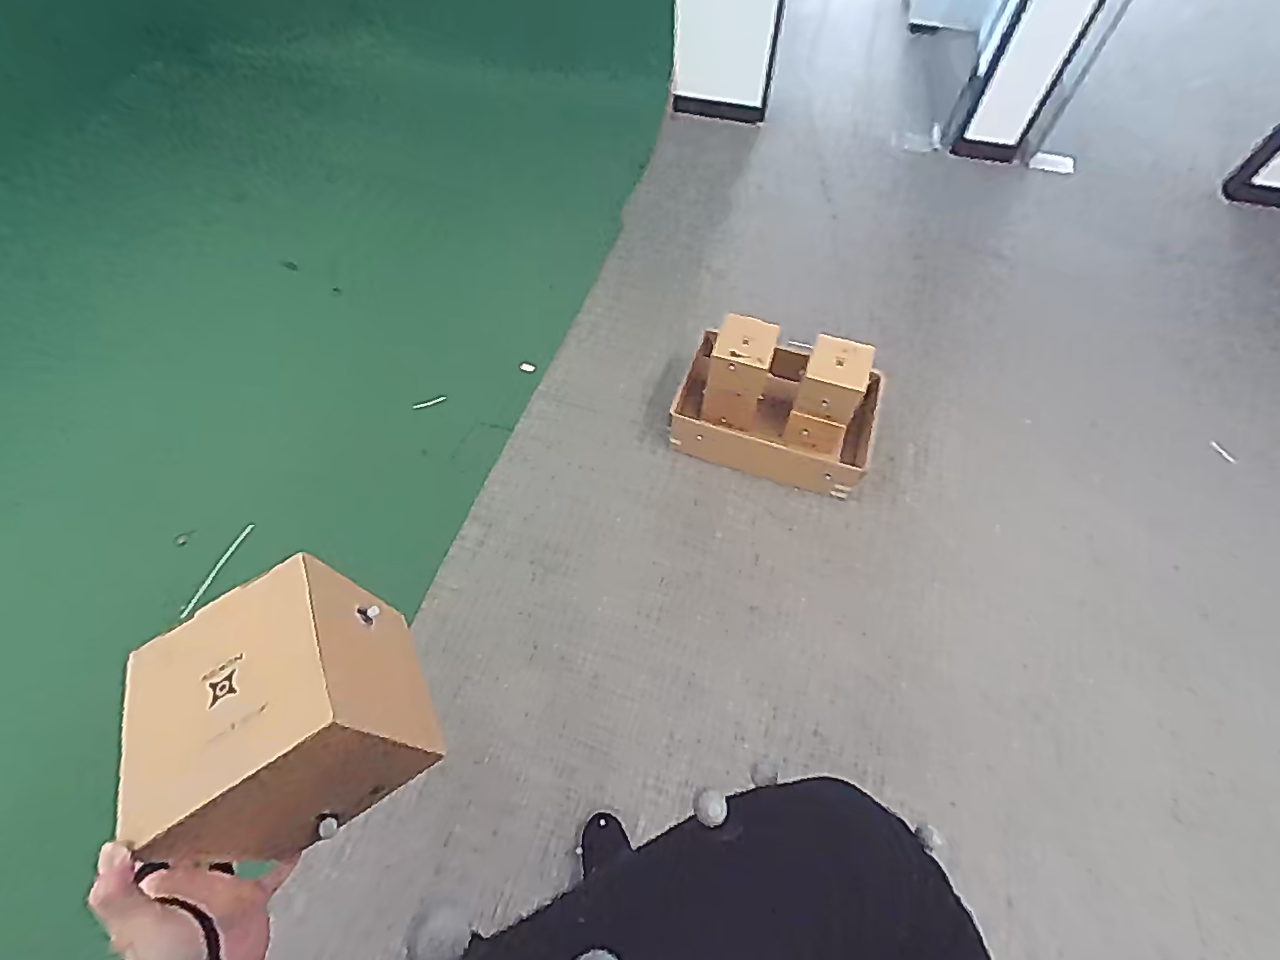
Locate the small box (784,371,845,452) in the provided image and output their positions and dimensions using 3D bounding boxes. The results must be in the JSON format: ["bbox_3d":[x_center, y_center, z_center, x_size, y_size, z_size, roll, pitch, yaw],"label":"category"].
[{"bbox_3d":[0.573,-0.214,1.740,0.168,0.176,0.179,18,63,11],"label":"small box"}]

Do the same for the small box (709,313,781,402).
[{"bbox_3d":[0.312,-0.368,1.638,0.168,0.176,0.179,16,63,10],"label":"small box"}]

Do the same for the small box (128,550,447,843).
[{"bbox_3d":[-0.309,0.204,0.501,0.168,0.176,0.179,-31,54,-8],"label":"small box"}]

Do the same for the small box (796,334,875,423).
[{"bbox_3d":[0.570,-0.295,1.596,0.168,0.176,0.179,18,63,12],"label":"small box"}]
